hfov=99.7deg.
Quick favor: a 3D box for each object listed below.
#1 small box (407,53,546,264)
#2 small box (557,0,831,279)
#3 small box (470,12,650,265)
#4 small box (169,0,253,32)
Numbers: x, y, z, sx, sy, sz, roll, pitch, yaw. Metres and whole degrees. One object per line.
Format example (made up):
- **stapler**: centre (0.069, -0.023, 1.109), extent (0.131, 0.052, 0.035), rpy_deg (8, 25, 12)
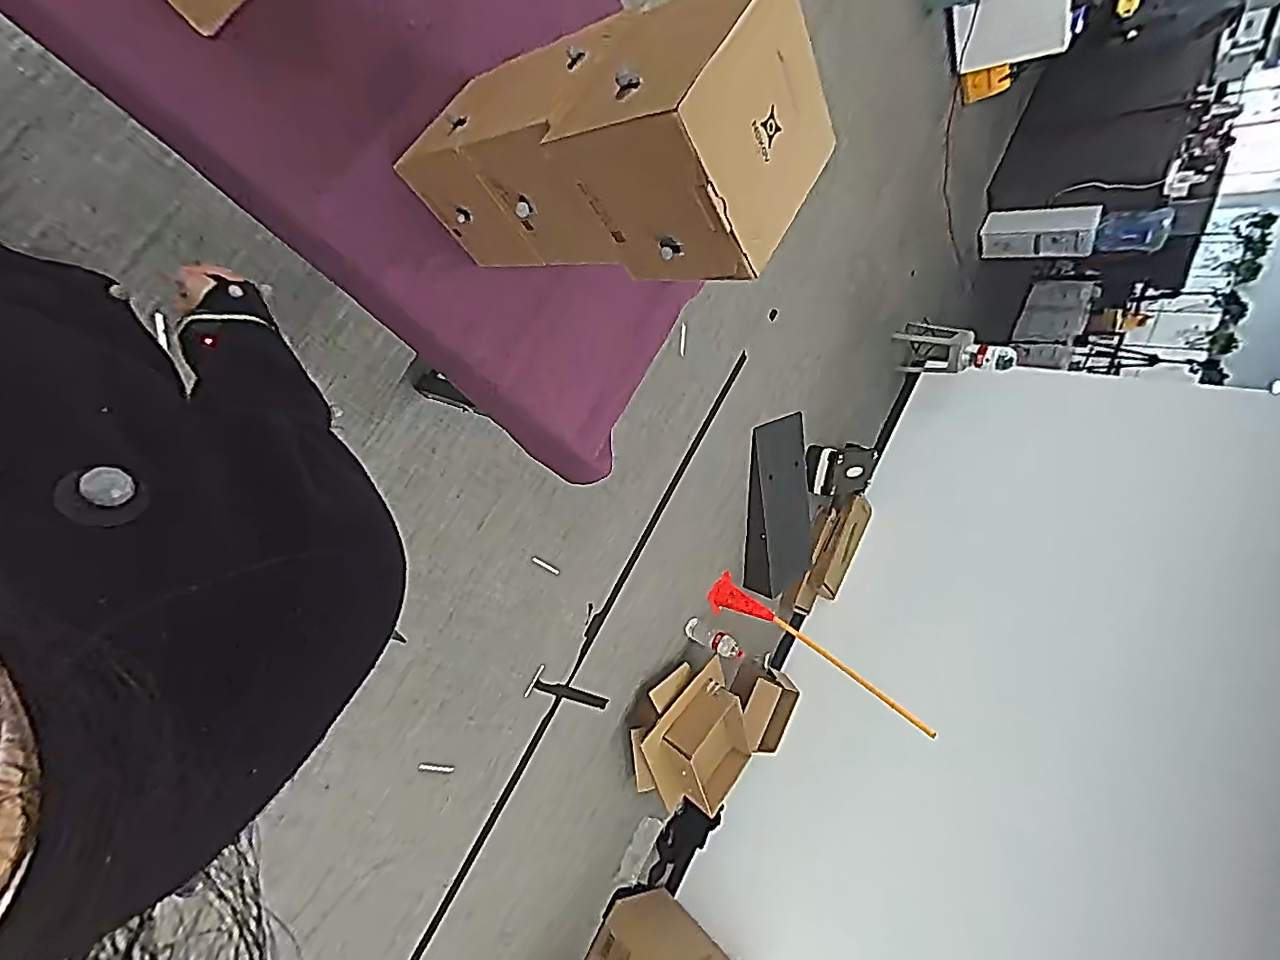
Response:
- **small box**: centre (-0.179, -0.411, 0.722), extent (0.179, 0.176, 0.168), rpy_deg (-59, 138, -14)
- **small box**: centre (0.048, -0.312, 0.509), extent (0.168, 0.176, 0.179), rpy_deg (42, 72, -48)
- **small box**: centre (-0.058, -0.372, 0.618), extent (0.179, 0.176, 0.168), rpy_deg (-58, 137, -14)
- **small box**: centre (-0.380, -0.534, 0.456), extent (0.168, 0.176, 0.179), rpy_deg (44, 70, -47)
